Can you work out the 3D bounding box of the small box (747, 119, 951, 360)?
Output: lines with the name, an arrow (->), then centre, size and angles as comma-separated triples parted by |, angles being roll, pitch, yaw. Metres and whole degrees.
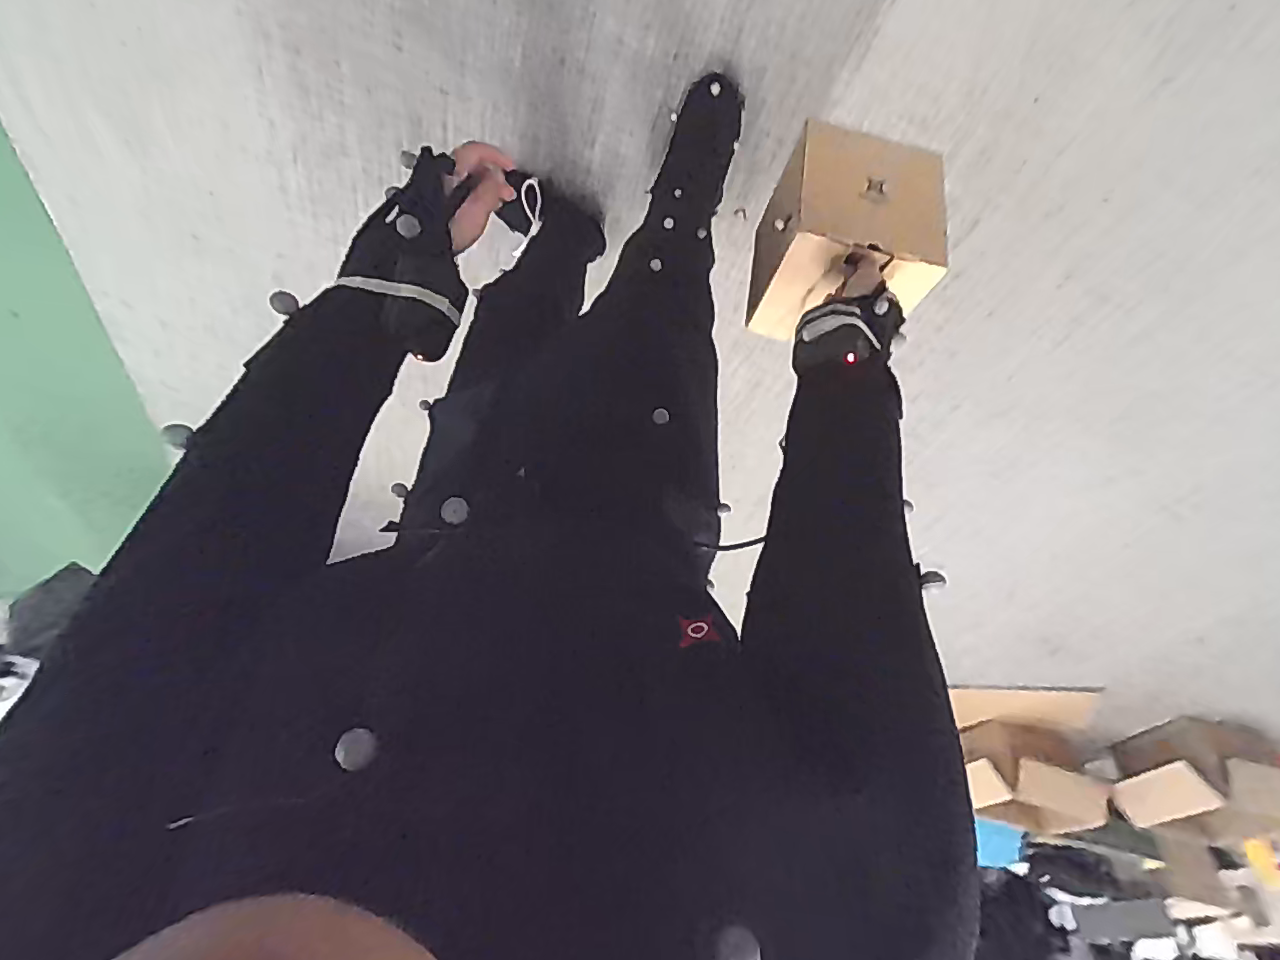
small box -> 0.238, -0.275, 0.647 | 0.168, 0.179, 0.176 | 13, 158, -6
